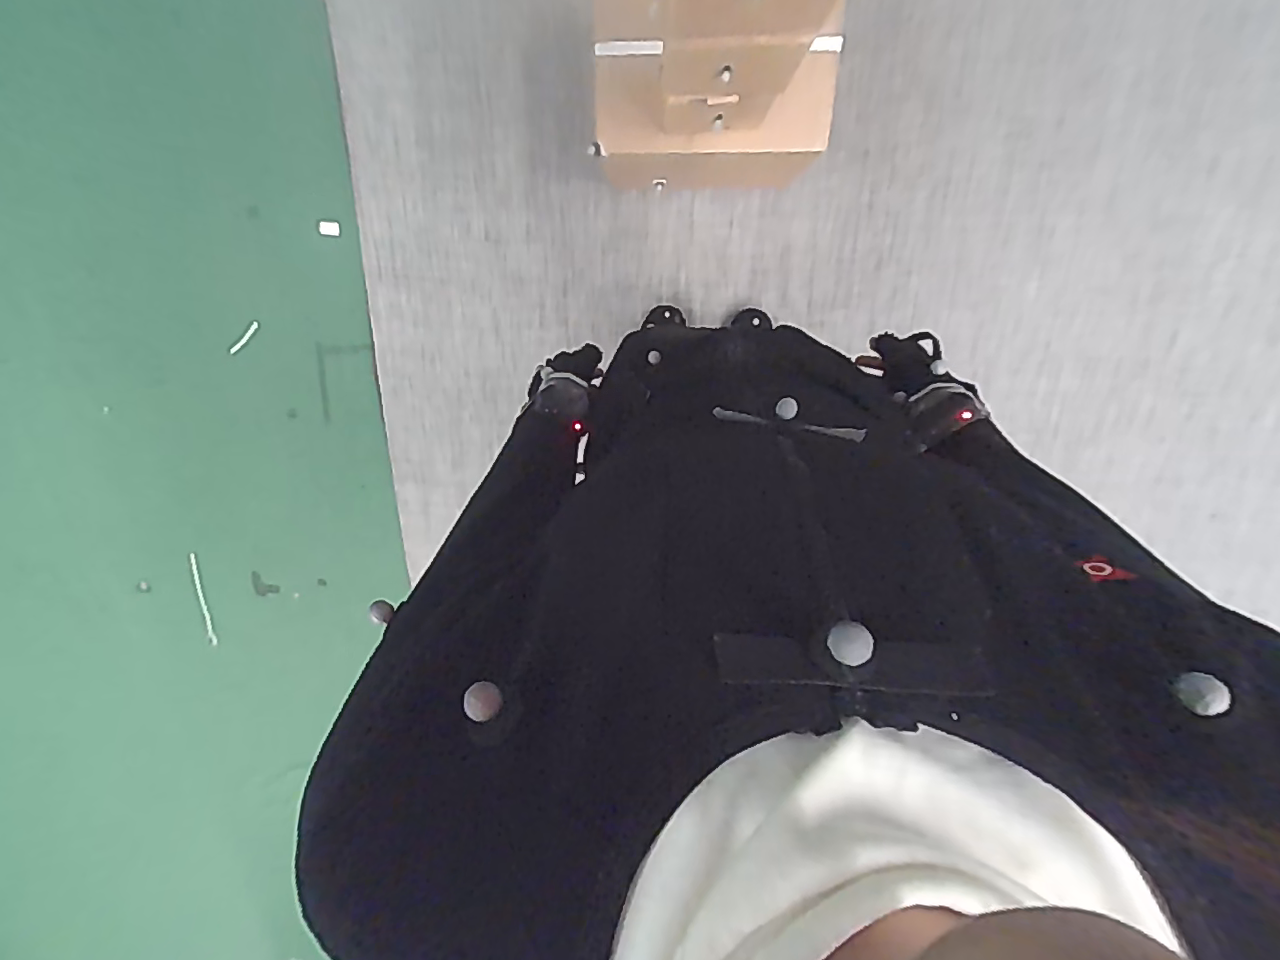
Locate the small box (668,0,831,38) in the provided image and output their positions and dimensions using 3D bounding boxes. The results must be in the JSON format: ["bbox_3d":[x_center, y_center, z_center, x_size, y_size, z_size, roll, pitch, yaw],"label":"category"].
[{"bbox_3d":[0.113,-0.559,0.520,0.179,0.176,0.168,-1,110,2],"label":"small box"}]

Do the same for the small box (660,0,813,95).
[{"bbox_3d":[0.115,-0.606,0.675,0.179,0.176,0.168,1,109,4],"label":"small box"}]

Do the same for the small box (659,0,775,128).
[{"bbox_3d":[0.115,-0.661,0.830,0.168,0.176,0.179,-2,110,4],"label":"small box"}]
